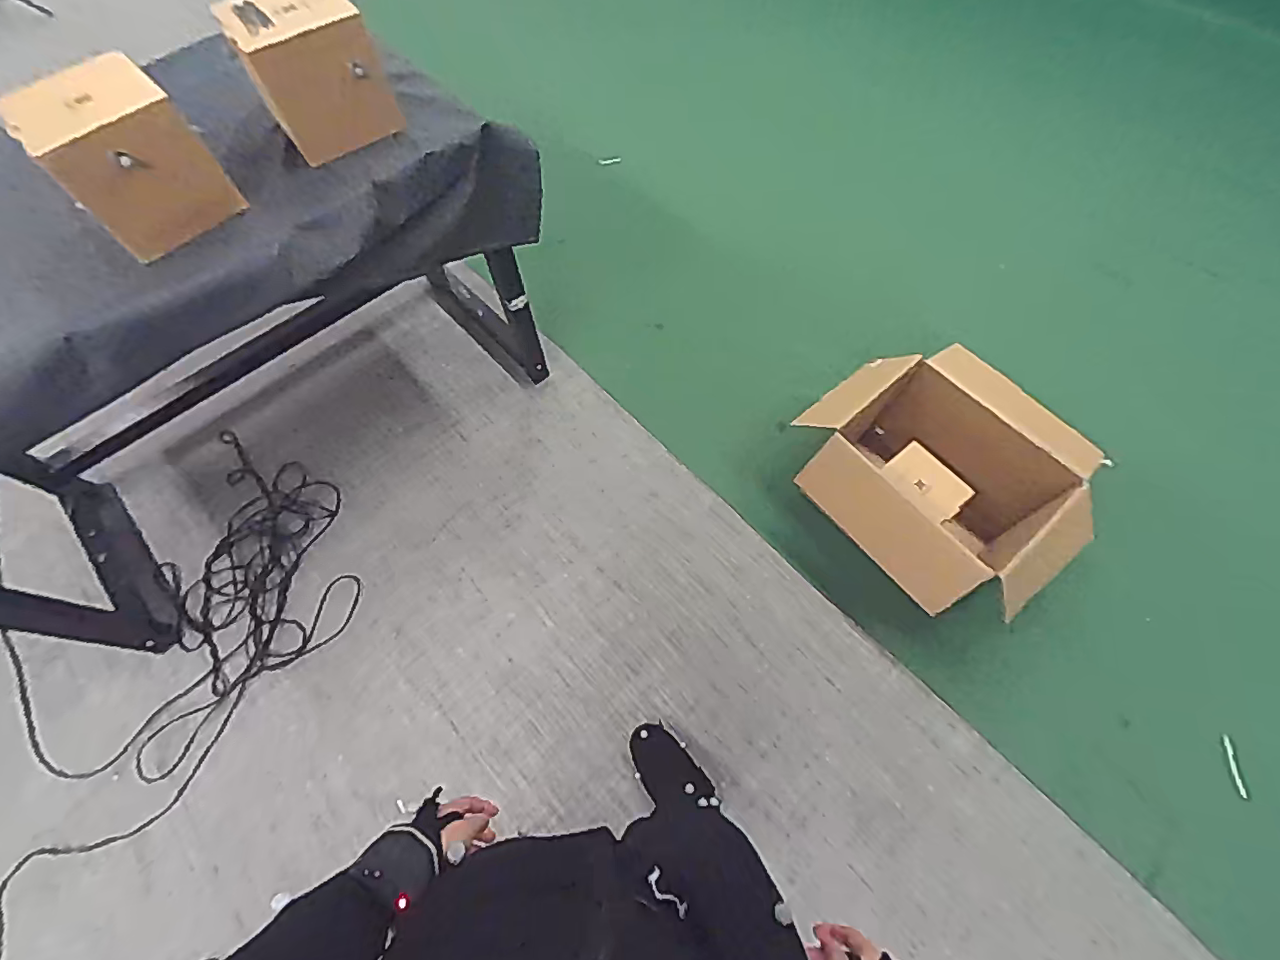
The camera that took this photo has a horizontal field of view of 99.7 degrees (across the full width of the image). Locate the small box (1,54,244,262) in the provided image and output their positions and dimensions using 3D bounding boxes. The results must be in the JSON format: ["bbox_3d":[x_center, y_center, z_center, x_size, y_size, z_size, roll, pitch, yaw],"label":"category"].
[{"bbox_3d":[-0.727,-0.461,0.786,0.168,0.176,0.179,42,73,19],"label":"small box"}]
